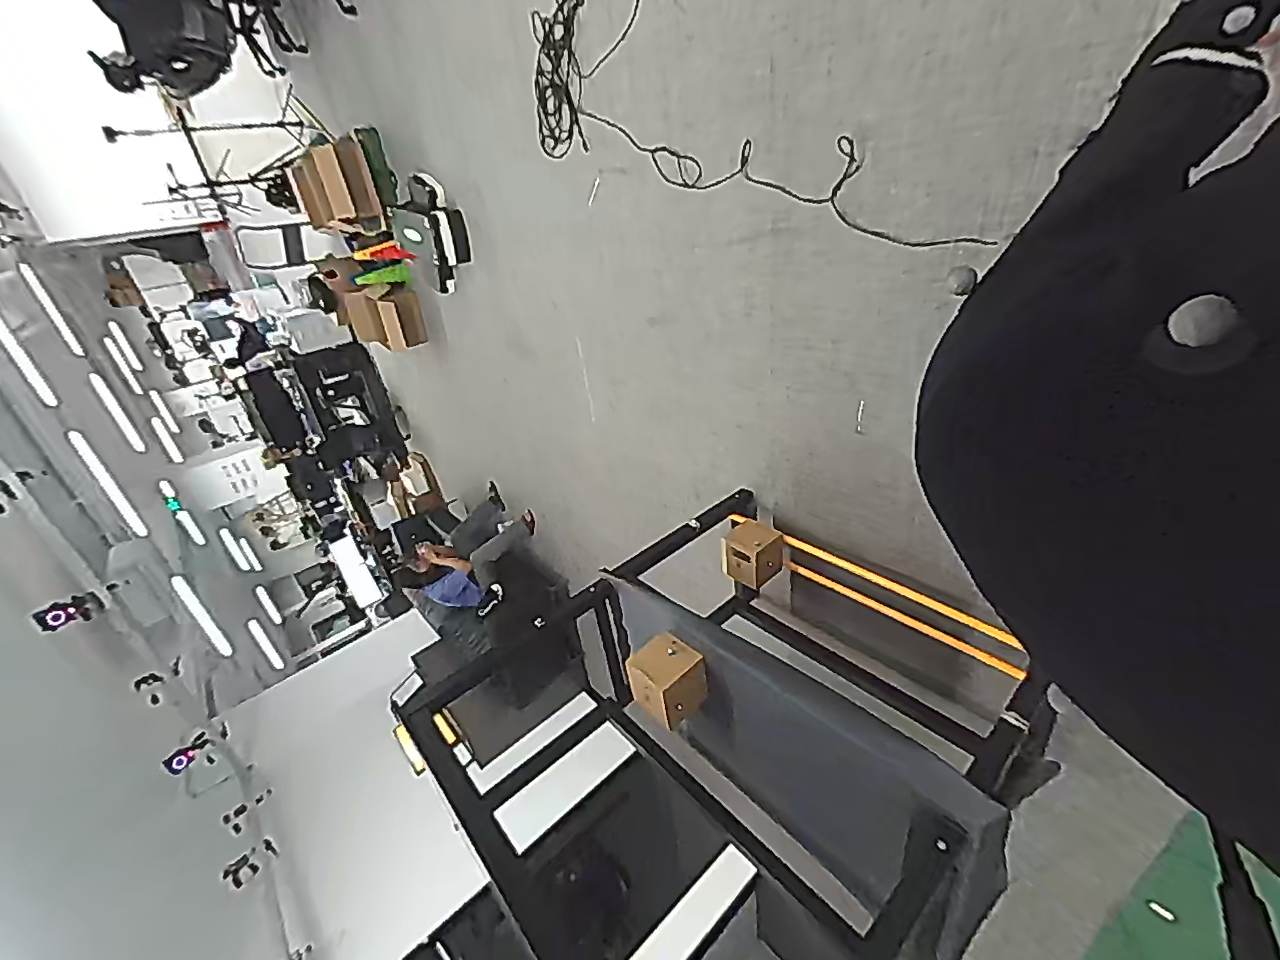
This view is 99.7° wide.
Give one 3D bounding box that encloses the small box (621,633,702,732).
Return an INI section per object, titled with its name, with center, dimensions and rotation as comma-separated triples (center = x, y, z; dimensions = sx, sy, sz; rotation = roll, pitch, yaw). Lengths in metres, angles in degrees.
[small box]
center = 0.070, 0.592, 1.601
dimensions = 0.168, 0.176, 0.179
rotation = 23, 132, 44
